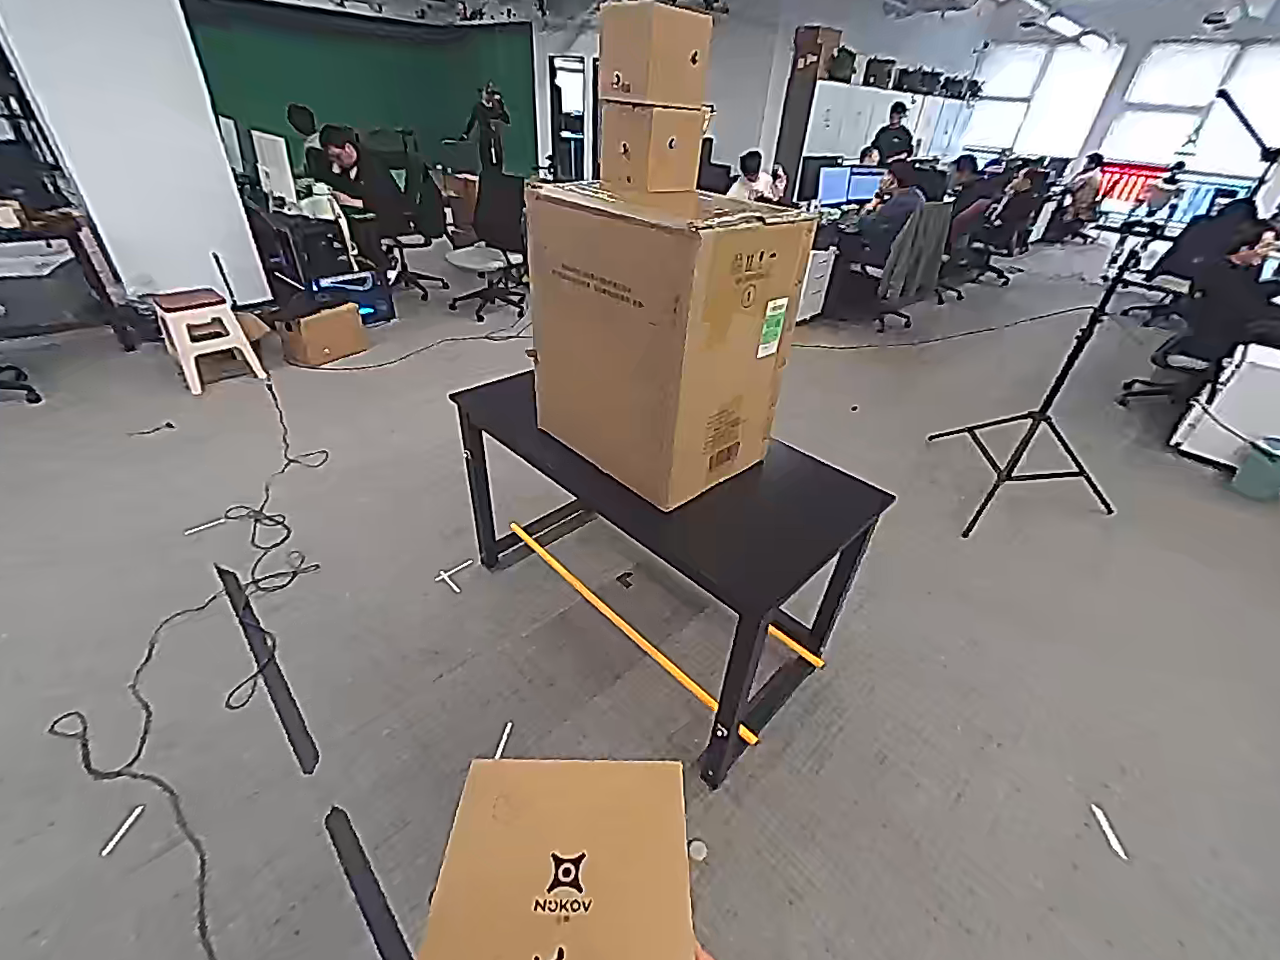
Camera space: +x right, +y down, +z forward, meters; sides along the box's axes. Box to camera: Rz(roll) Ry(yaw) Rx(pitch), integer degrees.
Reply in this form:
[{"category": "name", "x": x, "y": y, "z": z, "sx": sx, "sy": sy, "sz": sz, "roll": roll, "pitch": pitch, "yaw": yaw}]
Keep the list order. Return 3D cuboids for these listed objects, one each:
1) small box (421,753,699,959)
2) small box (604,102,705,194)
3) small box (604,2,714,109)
[{"category": "small box", "x": -0.048, "y": 0.329, "z": 0.392, "sx": 0.168, "sy": 0.176, "sz": 0.179, "roll": 0, "pitch": 31, "yaw": 0}, {"category": "small box", "x": 0.031, "y": -0.782, "z": 1.275, "sx": 0.179, "sy": 0.176, "sz": 0.168, "roll": -27, "pitch": 47, "yaw": -37}, {"category": "small box", "x": 0.033, "y": -0.908, "z": 1.170, "sx": 0.179, "sy": 0.176, "sz": 0.168, "roll": -25, "pitch": 44, "yaw": -35}]
